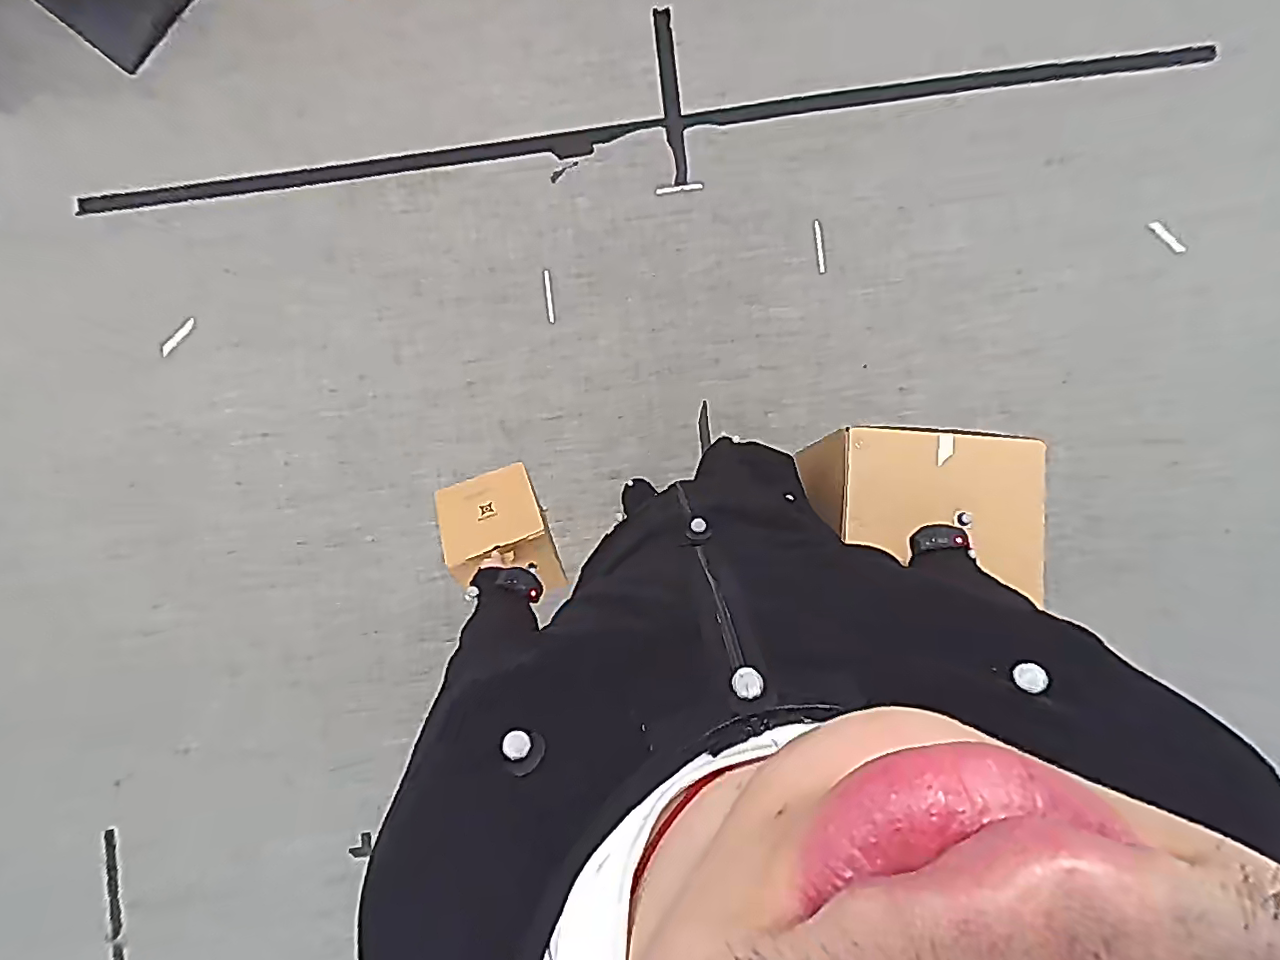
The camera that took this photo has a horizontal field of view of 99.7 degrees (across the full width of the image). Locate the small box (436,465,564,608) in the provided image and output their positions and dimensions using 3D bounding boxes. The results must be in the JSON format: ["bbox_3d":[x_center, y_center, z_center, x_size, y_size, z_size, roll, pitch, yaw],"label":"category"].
[{"bbox_3d":[-0.249,0.109,0.976,0.168,0.176,0.179,-20,48,-10],"label":"small box"}]
